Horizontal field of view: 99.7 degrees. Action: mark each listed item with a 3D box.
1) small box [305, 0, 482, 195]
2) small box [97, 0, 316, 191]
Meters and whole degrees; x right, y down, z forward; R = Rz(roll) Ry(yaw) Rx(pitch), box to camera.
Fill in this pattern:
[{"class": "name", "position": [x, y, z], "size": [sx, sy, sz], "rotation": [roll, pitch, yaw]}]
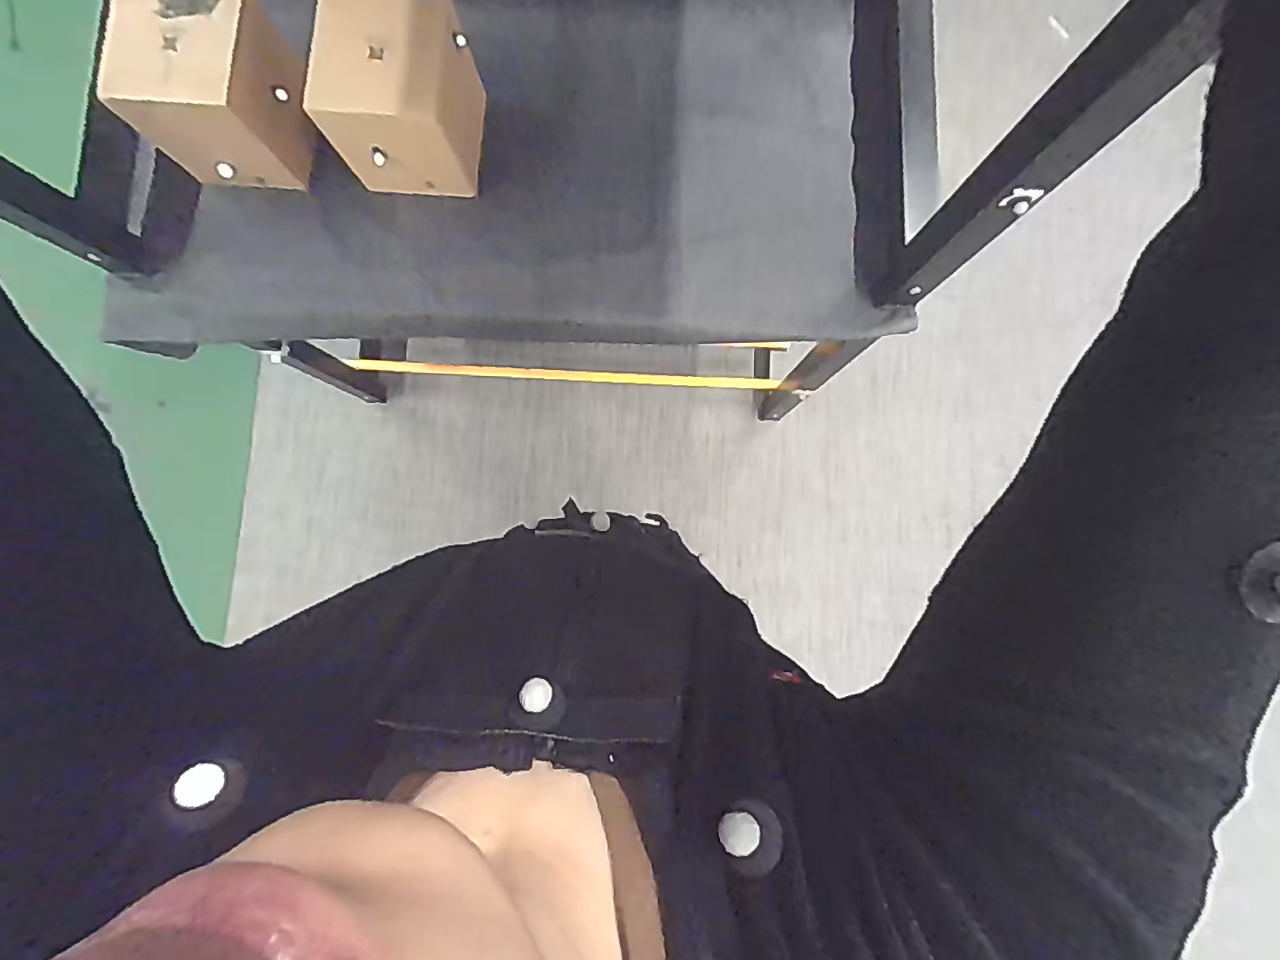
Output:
[{"class": "small box", "position": [-0.330, -0.528, 0.756], "size": [0.168, 0.176, 0.179], "rotation": [3, 84, 0]}, {"class": "small box", "position": [-0.583, -0.541, 0.754], "size": [0.168, 0.176, 0.179], "rotation": [4, 85, 0]}]
